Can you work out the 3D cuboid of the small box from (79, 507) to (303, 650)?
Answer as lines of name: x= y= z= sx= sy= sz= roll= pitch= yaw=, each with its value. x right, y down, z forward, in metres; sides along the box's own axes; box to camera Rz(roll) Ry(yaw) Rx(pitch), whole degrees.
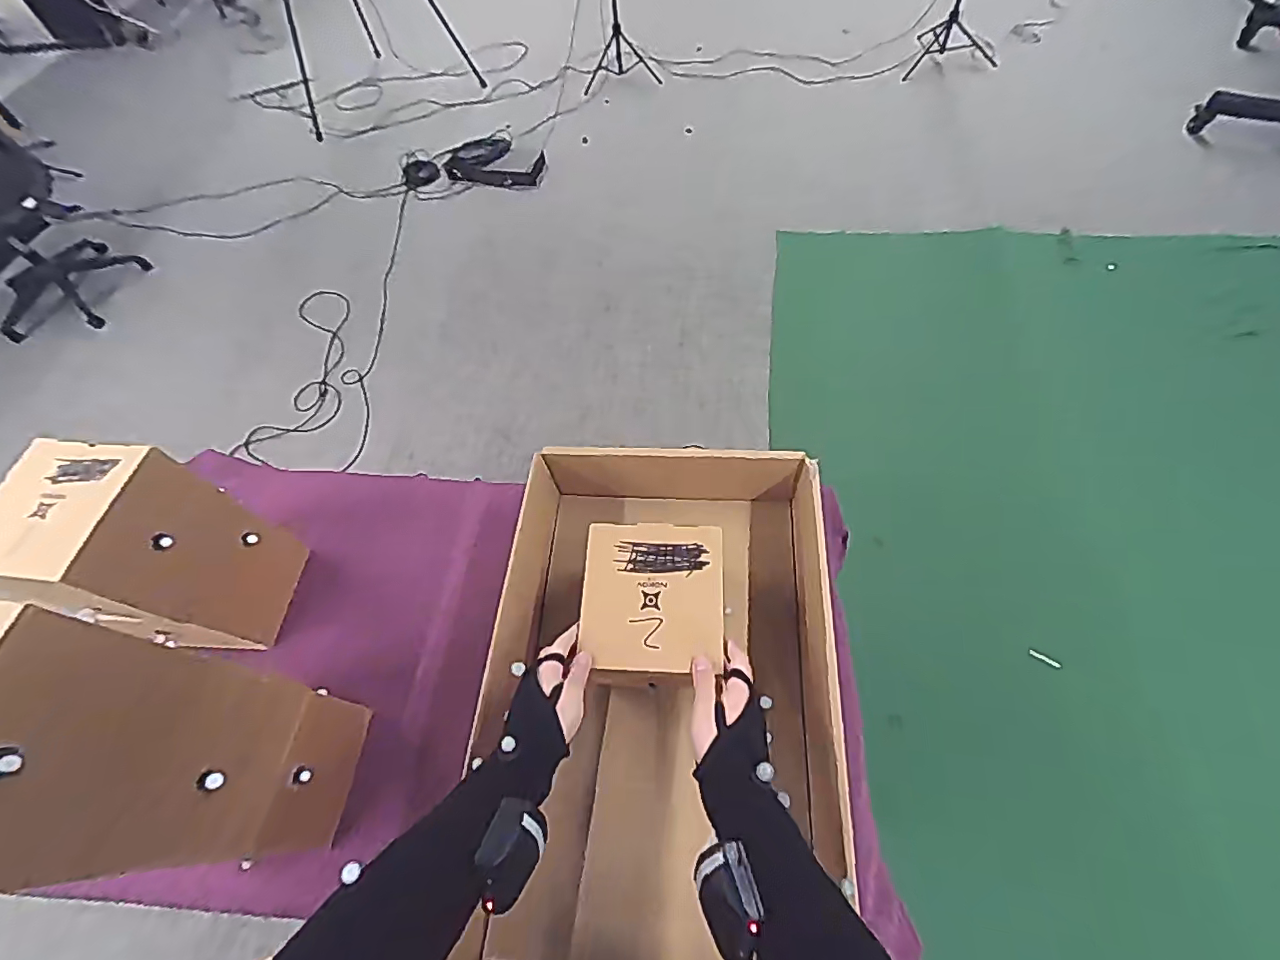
small box: x=-0.662 y=0.155 z=0.827 sx=0.168 sy=0.176 sz=0.179 roll=1 pitch=59 yaw=6

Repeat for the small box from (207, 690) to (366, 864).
small box: x=-0.484 y=0.366 z=0.684 sx=0.168 sy=0.176 sz=0.179 roll=3 pitch=58 yaw=6

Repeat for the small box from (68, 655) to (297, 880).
small box: x=-0.495 y=0.278 z=0.547 sx=0.168 sy=0.176 sz=0.179 roll=3 pitch=59 yaw=5

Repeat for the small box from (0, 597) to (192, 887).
small box: x=-0.503 y=0.192 z=0.405 sx=0.168 sy=0.176 sz=0.179 roll=4 pitch=59 yaw=6

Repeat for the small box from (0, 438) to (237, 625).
small box: x=-0.668 y=0.068 z=0.687 sx=0.168 sy=0.176 sz=0.179 roll=4 pitch=60 yaw=8
